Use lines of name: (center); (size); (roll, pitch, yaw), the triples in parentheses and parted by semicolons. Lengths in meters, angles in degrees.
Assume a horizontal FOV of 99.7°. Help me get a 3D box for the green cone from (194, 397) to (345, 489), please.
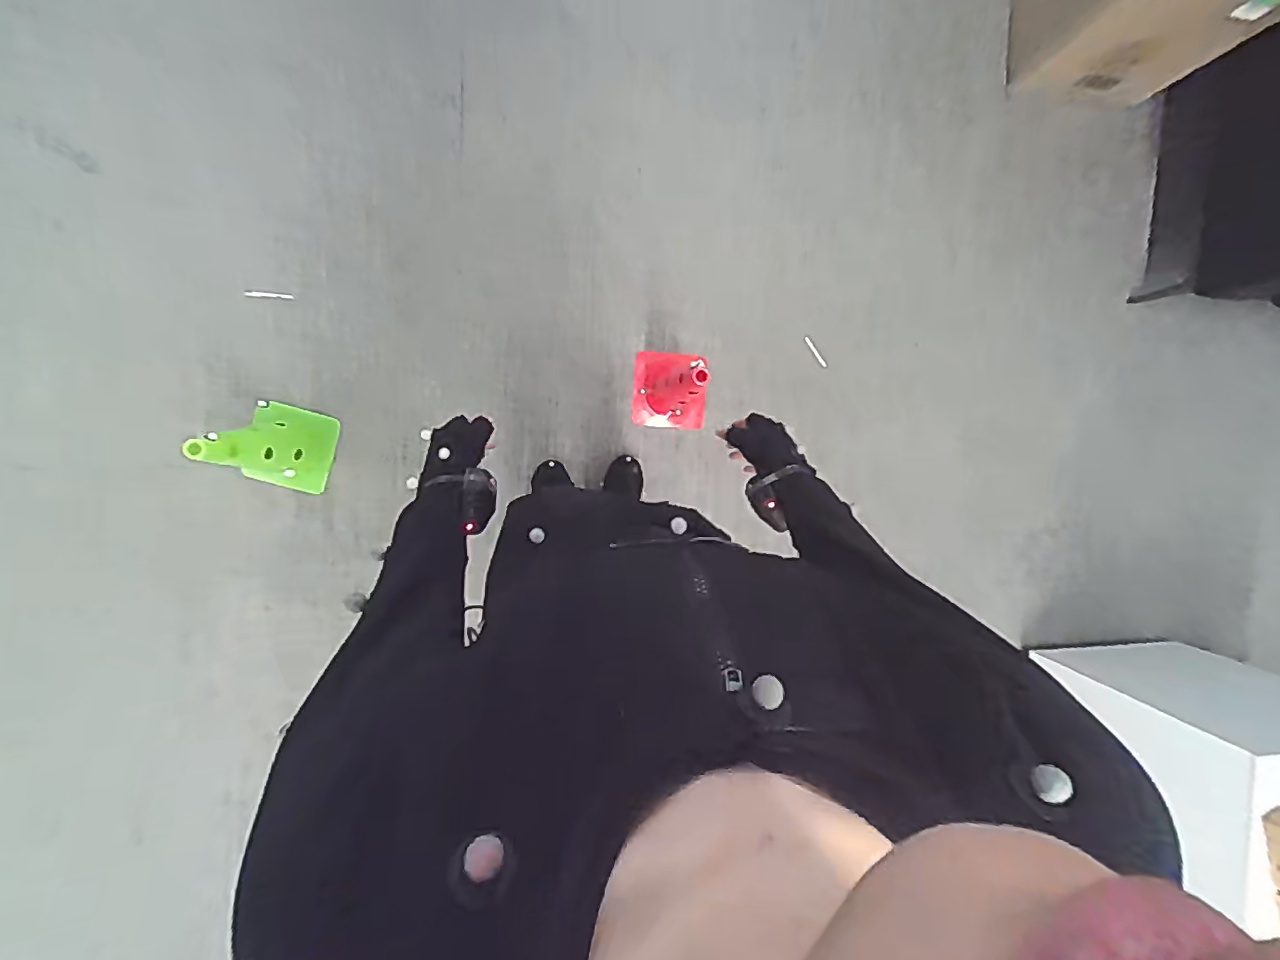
green cone: (-0.839, -0.080, 1.185); (0.202, 0.368, 0.200); (15, 92, -8)
